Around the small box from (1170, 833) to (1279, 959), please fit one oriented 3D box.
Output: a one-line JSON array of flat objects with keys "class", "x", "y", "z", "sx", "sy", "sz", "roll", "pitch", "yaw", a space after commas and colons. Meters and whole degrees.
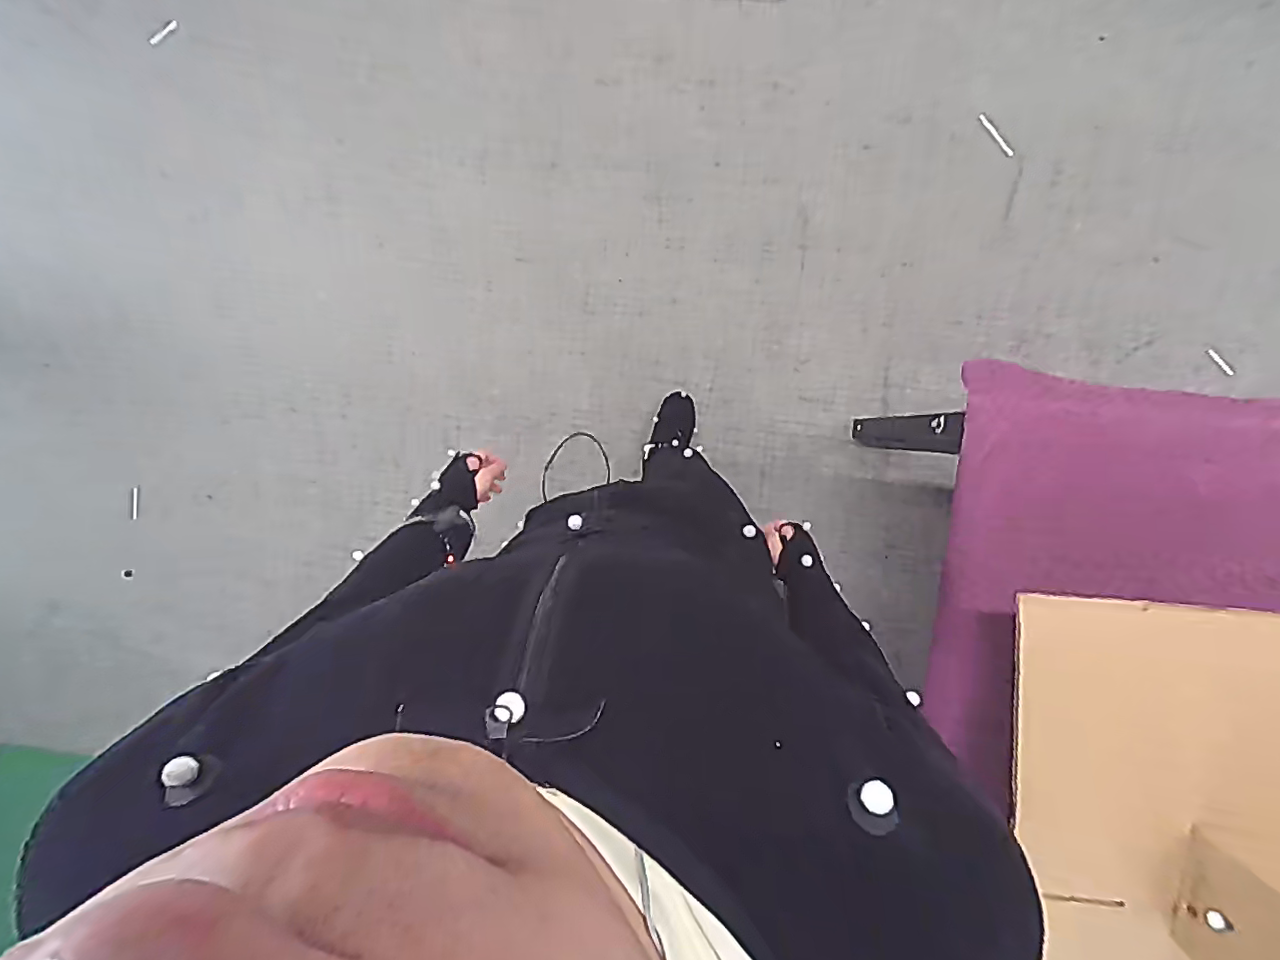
[{"class": "small box", "x": 0.793, "y": 0.549, "z": 0.627, "sx": 0.179, "sy": 0.176, "sz": 0.168, "roll": 5, "pitch": 97, "yaw": 3}]
